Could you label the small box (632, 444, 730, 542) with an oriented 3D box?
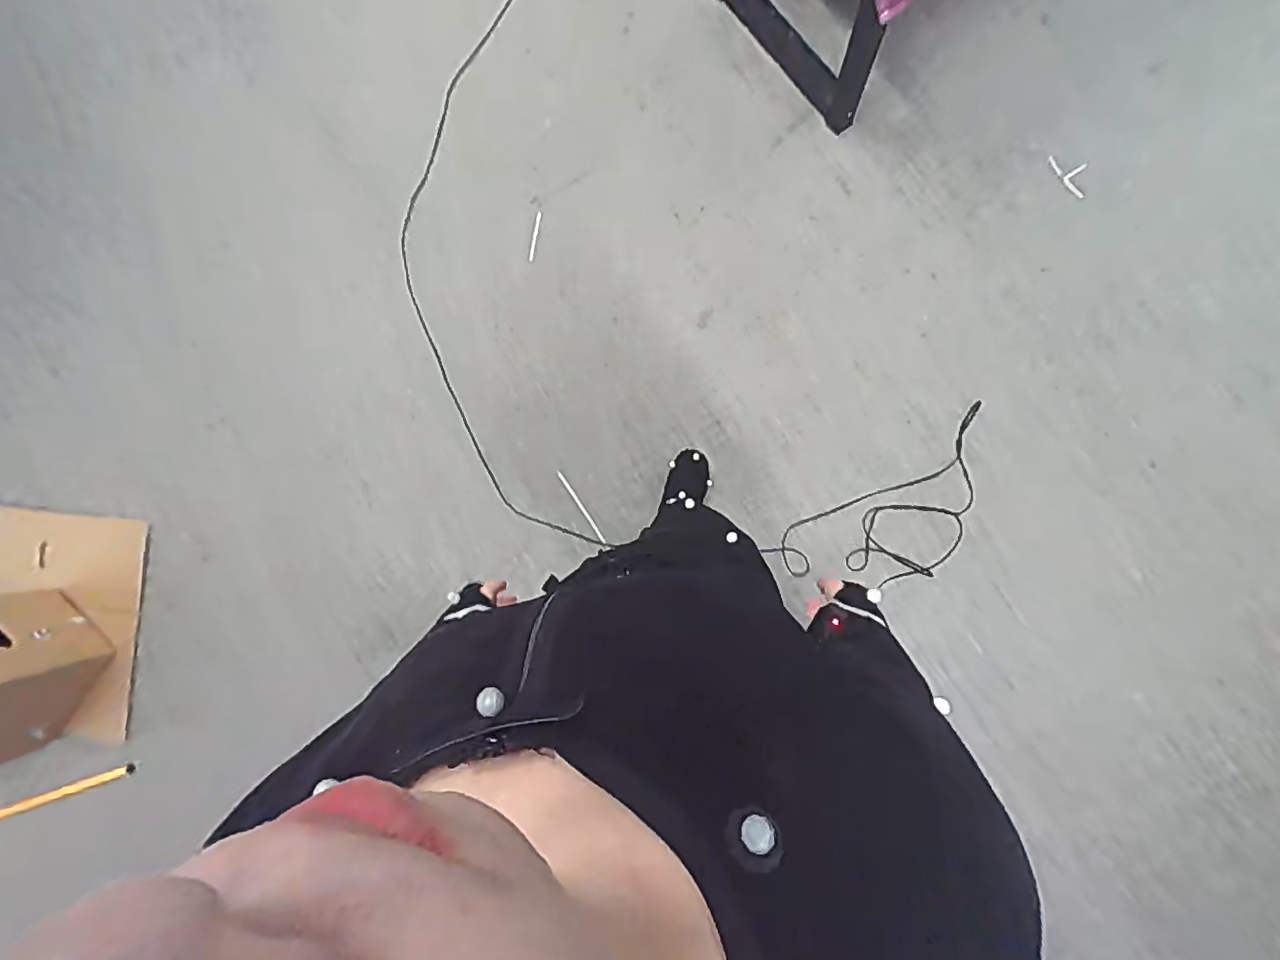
[{"bbox_3d":[0.099,0.034,1.405,0.179,0.176,0.168,-16,56,-25],"label":"small box"}]
